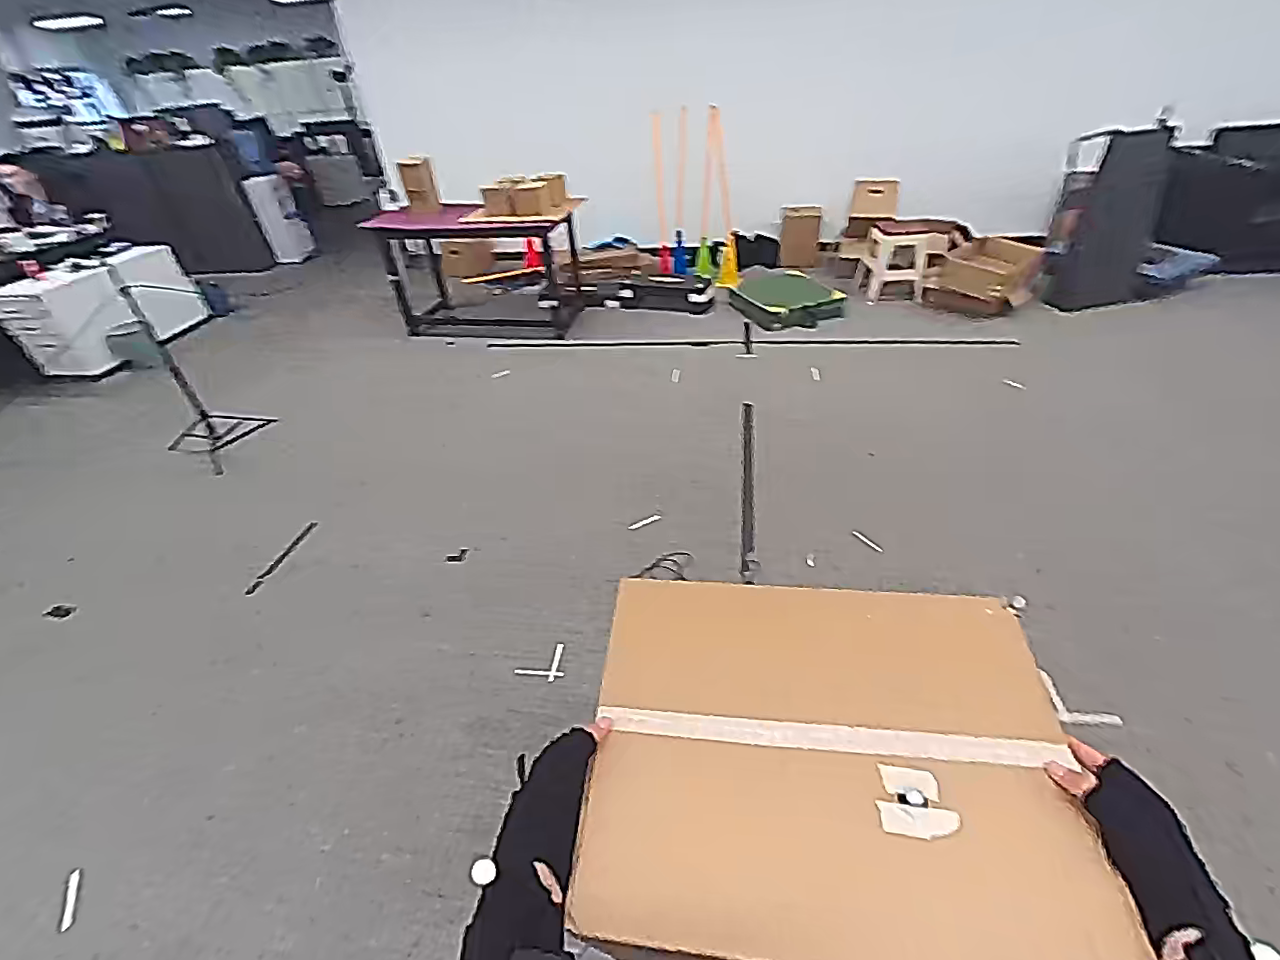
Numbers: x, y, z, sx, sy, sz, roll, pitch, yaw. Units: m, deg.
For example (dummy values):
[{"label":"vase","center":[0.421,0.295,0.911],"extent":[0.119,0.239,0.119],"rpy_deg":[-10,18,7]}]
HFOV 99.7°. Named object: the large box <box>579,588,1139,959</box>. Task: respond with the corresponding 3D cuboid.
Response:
[{"label":"large box","center":[0.175,0.341,0.595],"extent":[0.408,0.320,0.320],"rpy_deg":[2,47,9]}]
